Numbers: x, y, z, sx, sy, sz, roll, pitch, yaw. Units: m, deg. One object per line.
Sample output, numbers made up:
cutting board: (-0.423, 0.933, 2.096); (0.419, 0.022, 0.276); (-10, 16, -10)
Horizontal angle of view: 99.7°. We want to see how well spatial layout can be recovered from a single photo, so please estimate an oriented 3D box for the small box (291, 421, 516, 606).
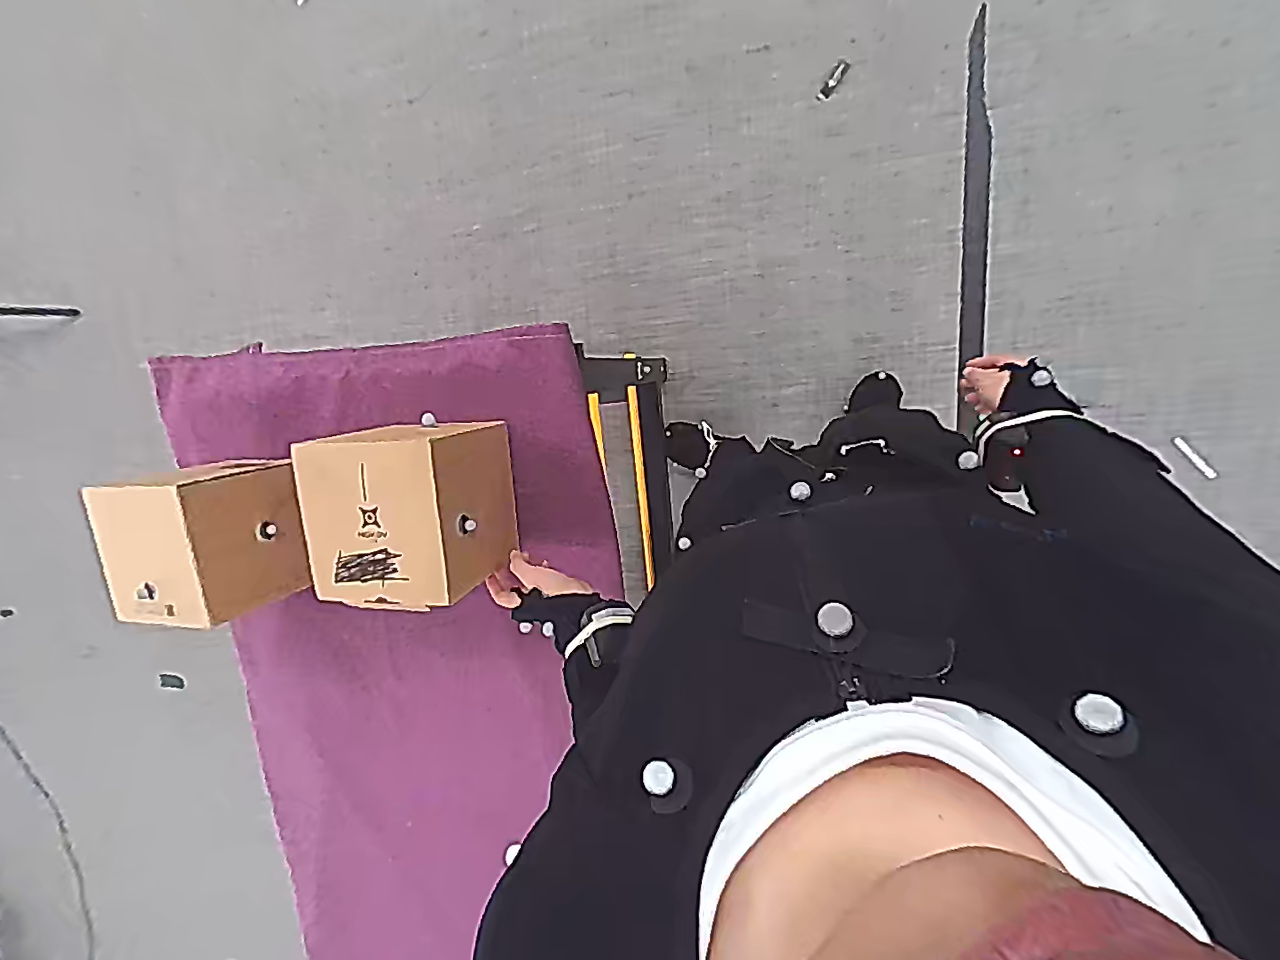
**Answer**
small box: (-0.258, 0.028, 0.632); (0.168, 0.176, 0.179); (-1, 102, 13)
